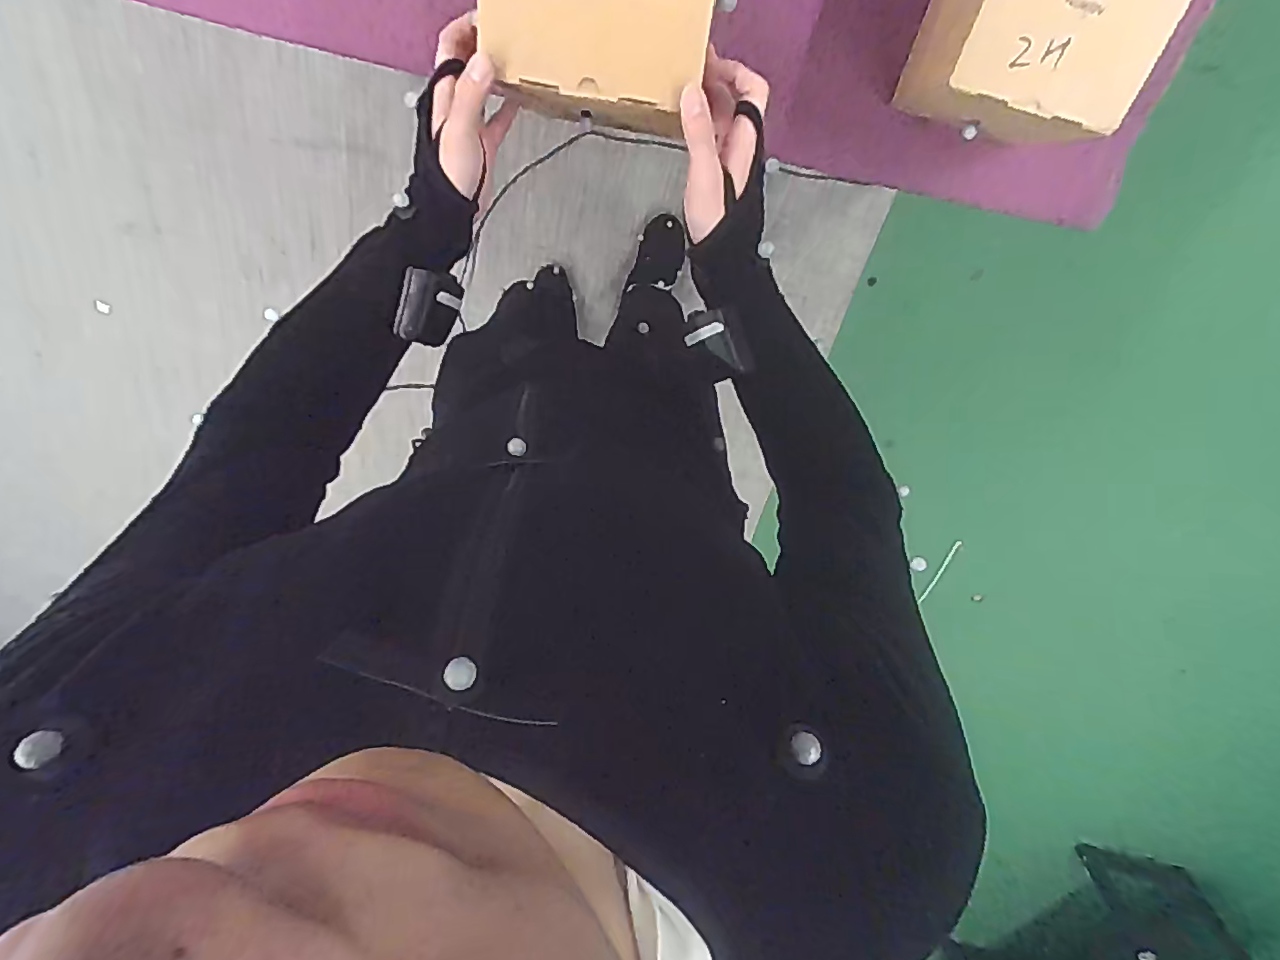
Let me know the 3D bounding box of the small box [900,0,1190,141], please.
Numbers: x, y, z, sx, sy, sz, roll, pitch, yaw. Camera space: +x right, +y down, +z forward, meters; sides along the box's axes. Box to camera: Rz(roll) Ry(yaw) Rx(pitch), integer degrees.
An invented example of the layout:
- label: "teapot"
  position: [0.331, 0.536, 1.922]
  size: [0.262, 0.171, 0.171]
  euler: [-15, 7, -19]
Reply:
- label: "small box"
  position: [0.384, -0.451, 0.522]
  size: [0.168, 0.176, 0.179]
  euler: [15, 120, -2]

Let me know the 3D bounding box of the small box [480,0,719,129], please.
- label: "small box"
  position: [-0.021, -0.402, 0.428]
  size: [0.168, 0.176, 0.179]
  euler: [8, 118, -3]
